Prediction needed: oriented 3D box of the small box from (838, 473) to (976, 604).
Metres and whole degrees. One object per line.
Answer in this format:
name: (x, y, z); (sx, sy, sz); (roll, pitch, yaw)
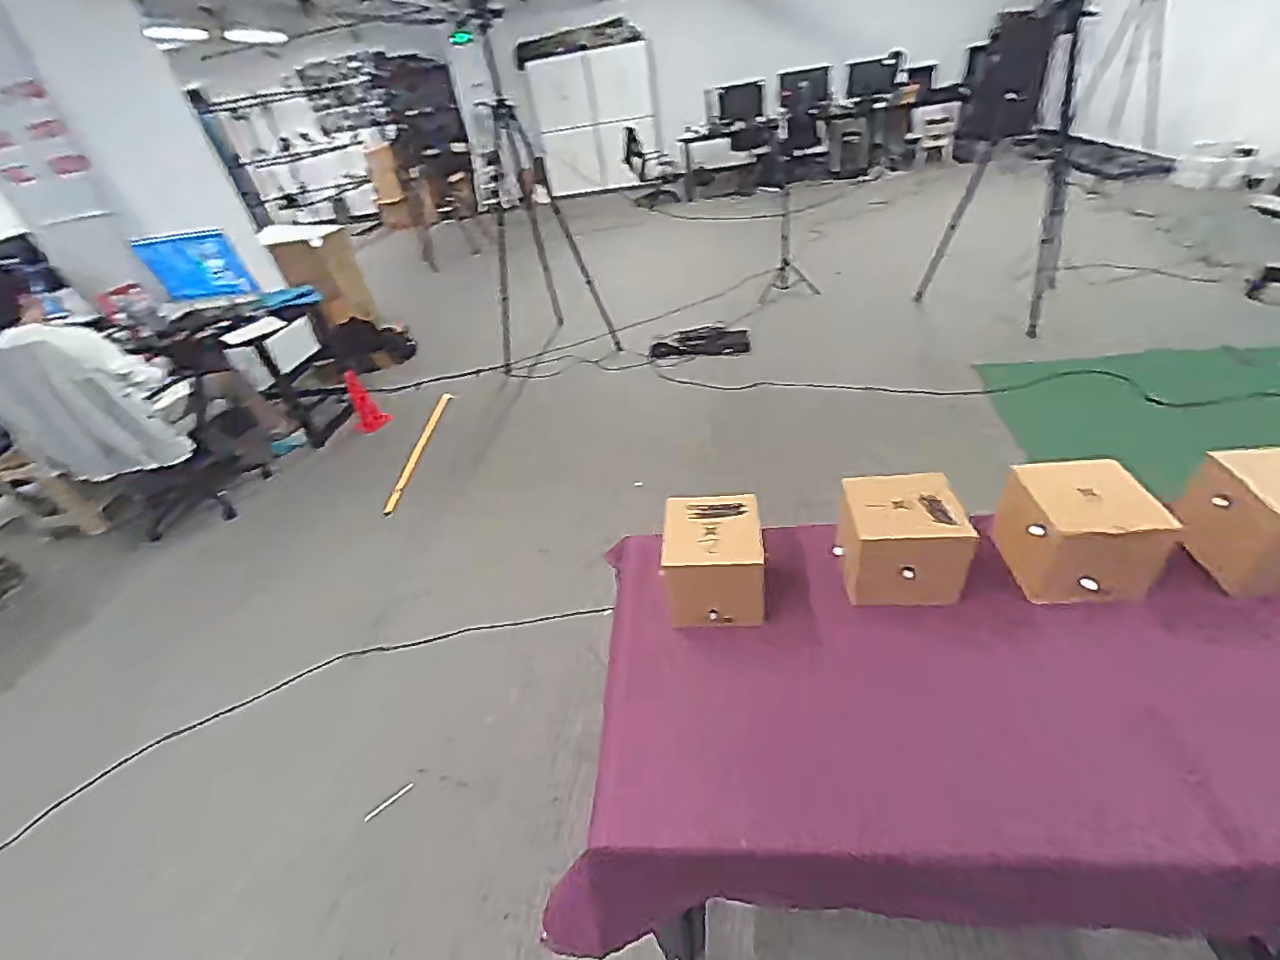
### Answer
small box: (0.460, 0.106, 0.963); (0.179, 0.176, 0.168); (-4, 37, 11)

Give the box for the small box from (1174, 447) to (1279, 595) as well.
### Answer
small box: (1.021, 0.064, 0.862); (0.168, 0.176, 0.179); (-4, 40, 12)

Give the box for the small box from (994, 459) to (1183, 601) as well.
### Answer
small box: (0.738, 0.085, 0.920); (0.168, 0.176, 0.179); (-4, 39, 9)
